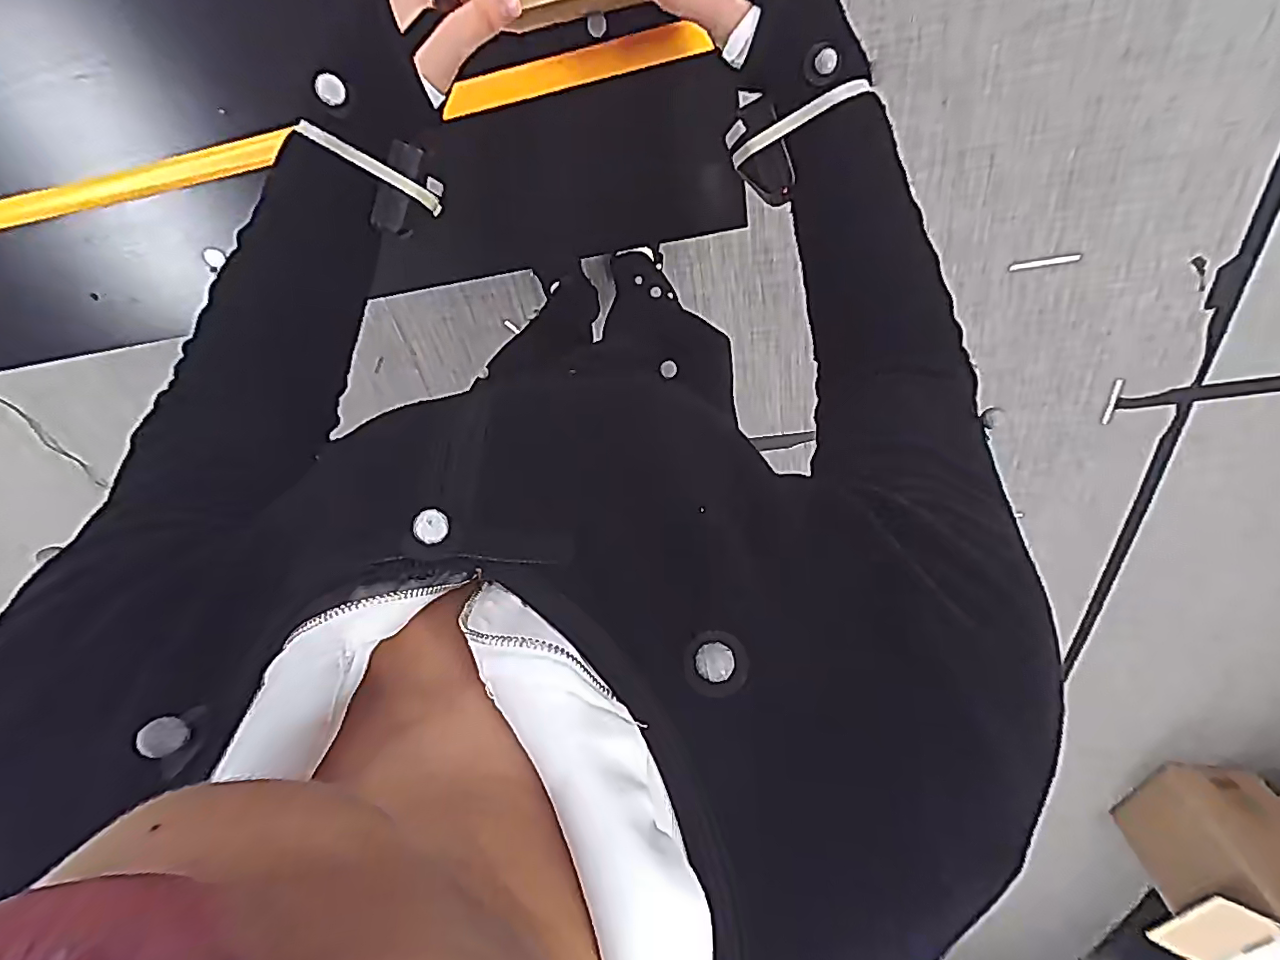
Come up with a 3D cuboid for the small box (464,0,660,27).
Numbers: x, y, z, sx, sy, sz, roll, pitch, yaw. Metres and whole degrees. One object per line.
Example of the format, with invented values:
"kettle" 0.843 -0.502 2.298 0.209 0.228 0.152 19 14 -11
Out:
"small box" -0.045 -0.431 0.359 0.168 0.176 0.179 -7 128 8
